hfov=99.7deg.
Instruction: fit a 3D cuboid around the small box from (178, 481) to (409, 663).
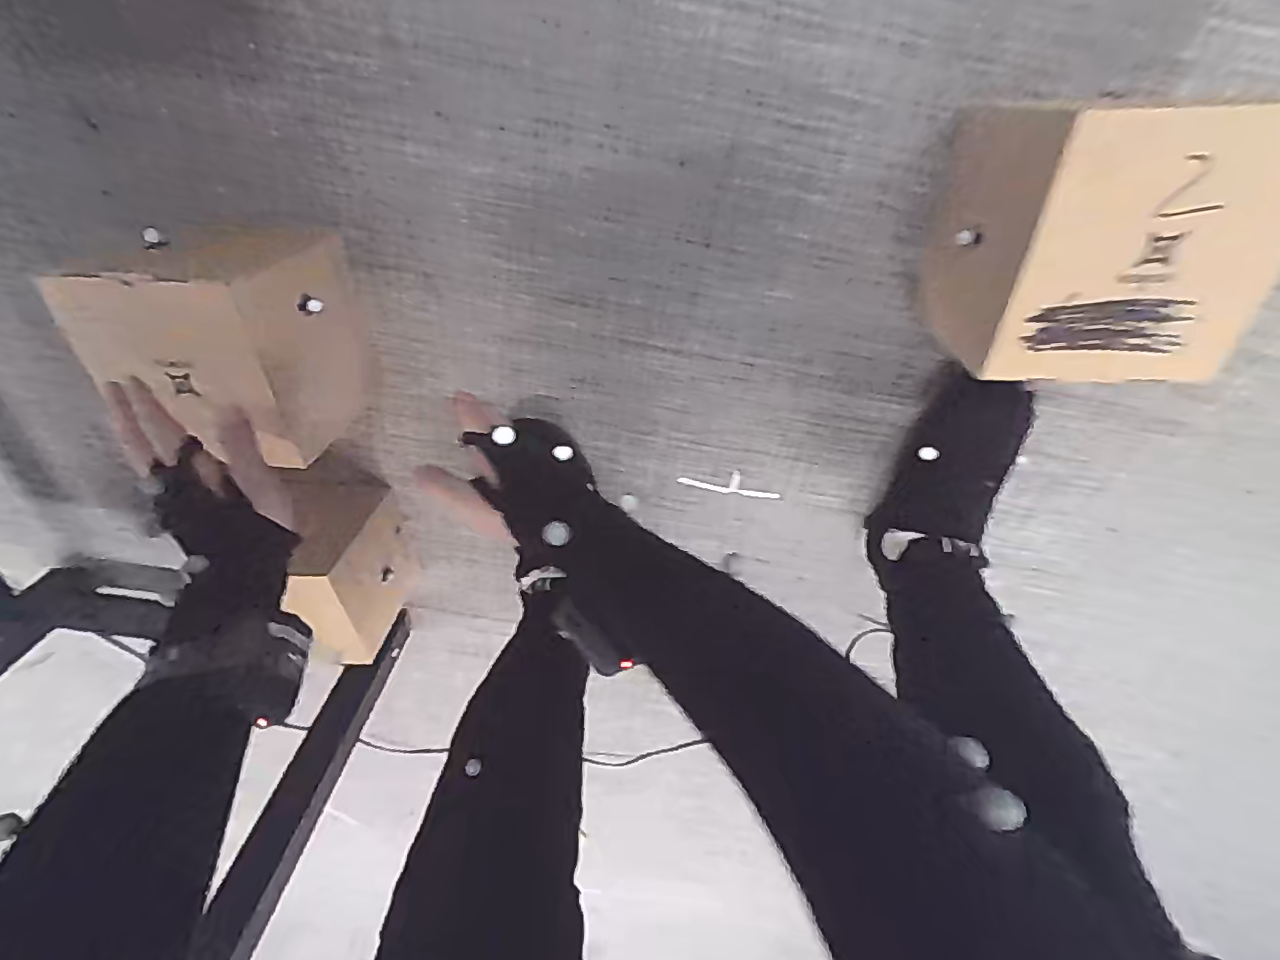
[{"bbox_3d":[-0.423,0.115,0.705,0.179,0.176,0.168,2,126,3],"label":"small box"}]
